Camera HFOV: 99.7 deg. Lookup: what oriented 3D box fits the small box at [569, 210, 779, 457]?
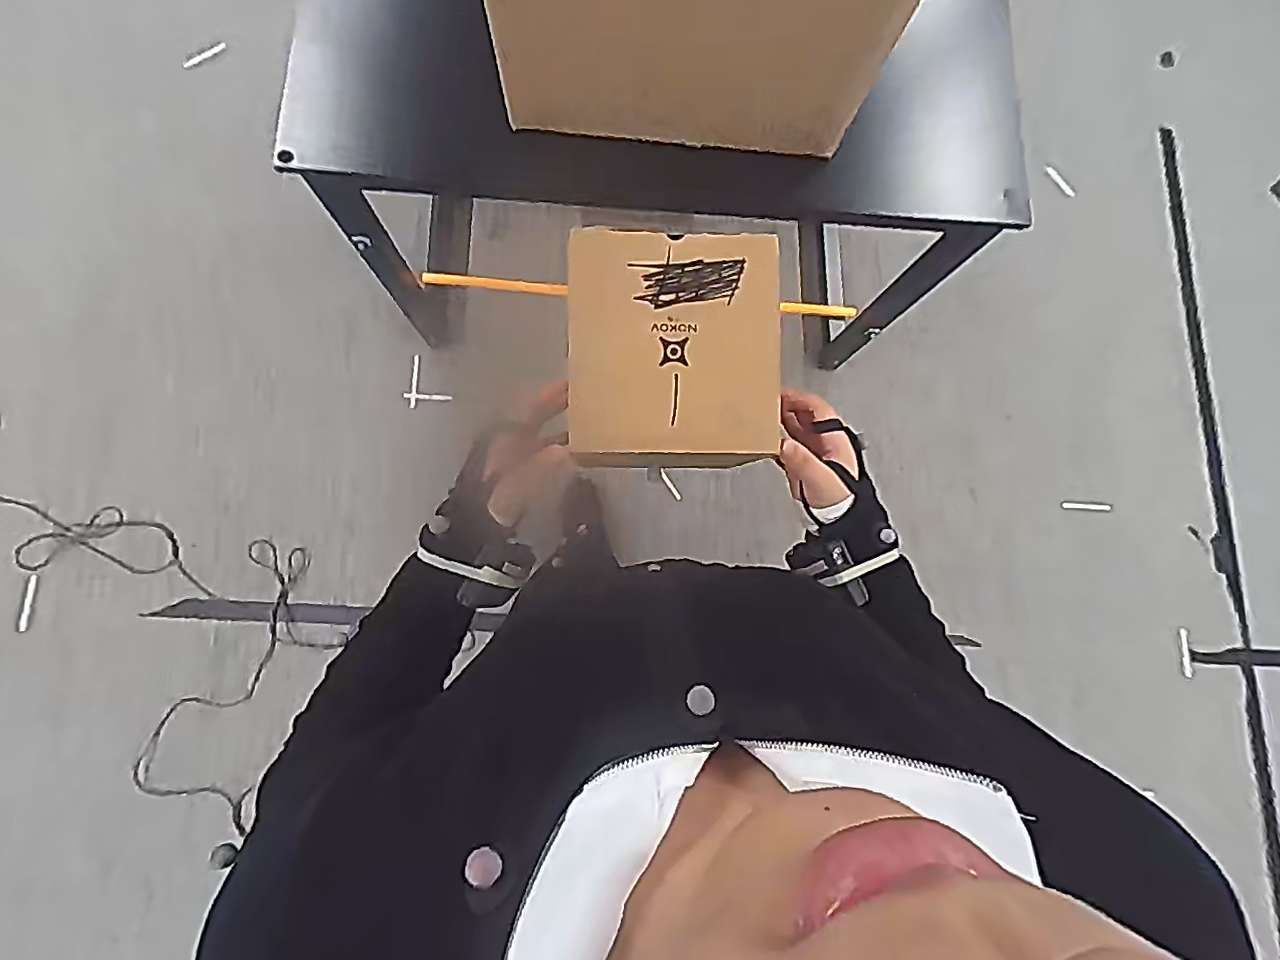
[{"bbox_3d":[0.021,-0.118,0.499,0.168,0.176,0.179,0,88,-4],"label":"small box"}]
